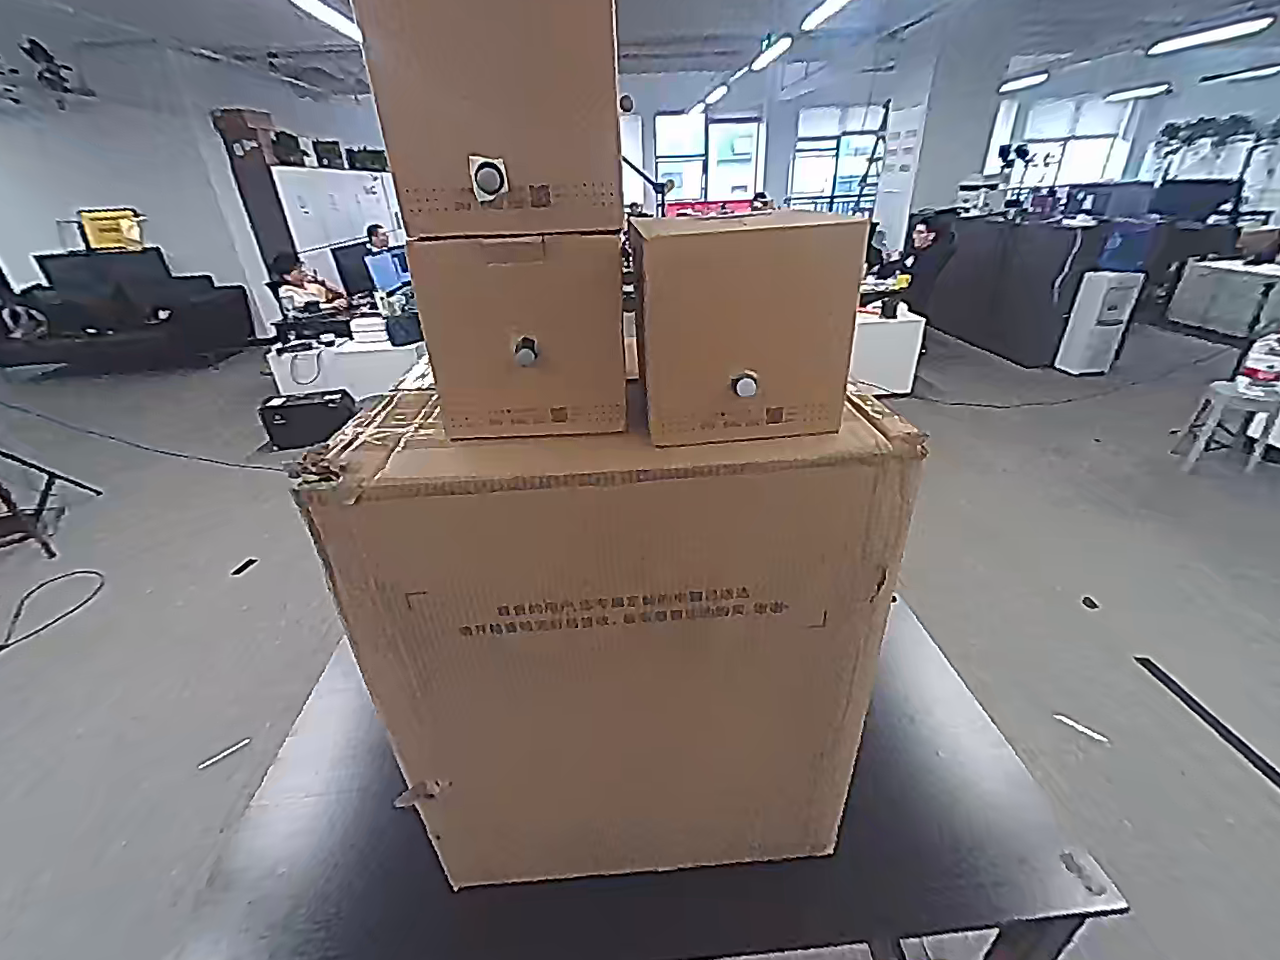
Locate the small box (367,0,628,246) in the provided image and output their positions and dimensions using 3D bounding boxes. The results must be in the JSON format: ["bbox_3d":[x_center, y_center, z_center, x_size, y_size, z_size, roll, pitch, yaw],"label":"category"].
[{"bbox_3d":[-0.097,-0.293,0.446,0.168,0.176,0.179,-4,31,-2],"label":"small box"}]
